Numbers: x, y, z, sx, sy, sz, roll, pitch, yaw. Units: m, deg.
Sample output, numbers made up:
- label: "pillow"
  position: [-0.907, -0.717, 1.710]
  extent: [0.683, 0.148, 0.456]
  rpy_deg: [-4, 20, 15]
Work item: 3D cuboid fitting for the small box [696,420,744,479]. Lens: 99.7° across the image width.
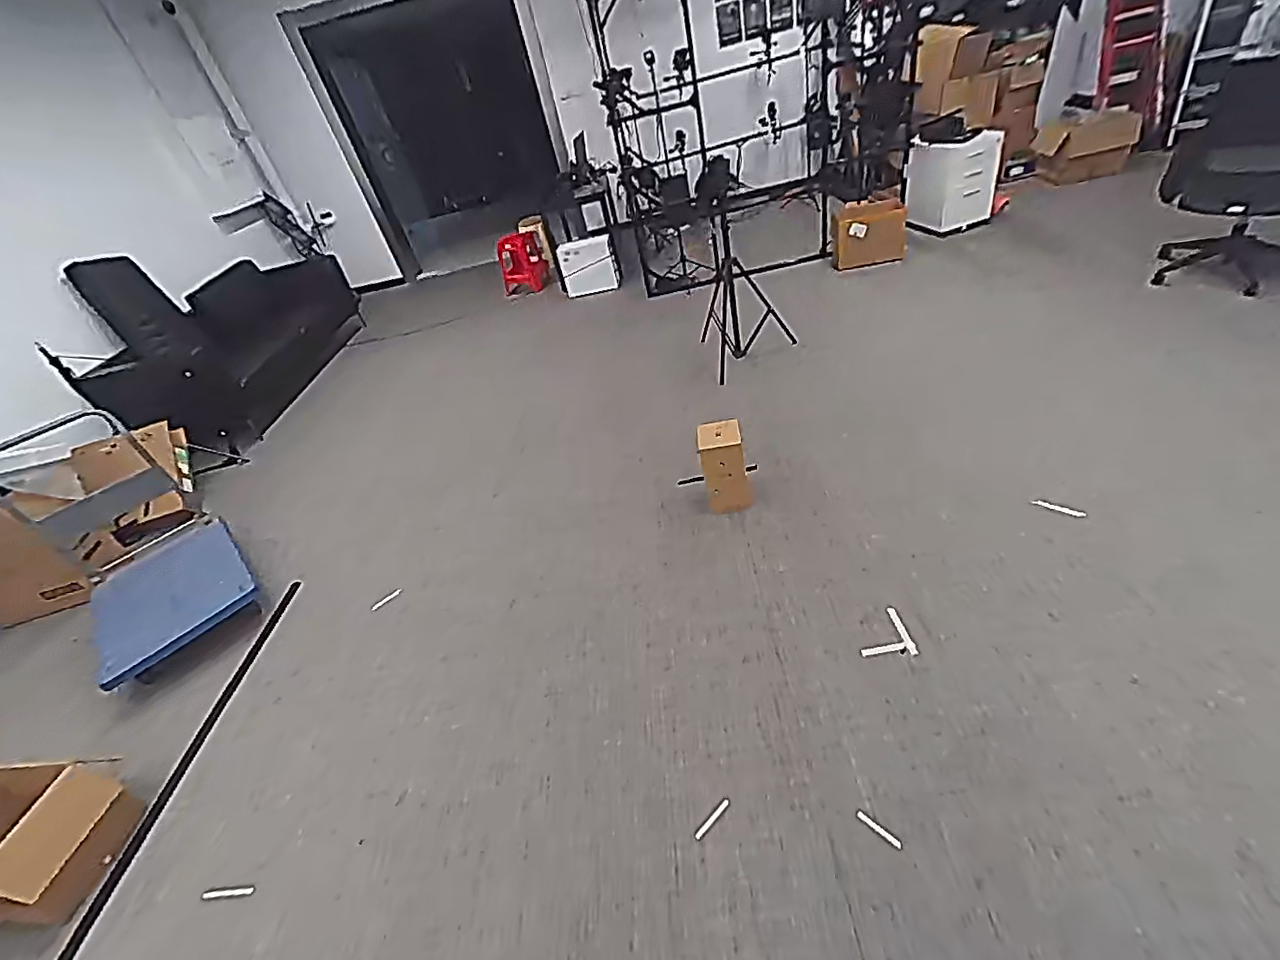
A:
- label: "small box"
  position: [0.323, -0.115, 2.174]
  extent: [0.168, 0.176, 0.179]
  rpy_deg: [-8, 37, 9]
